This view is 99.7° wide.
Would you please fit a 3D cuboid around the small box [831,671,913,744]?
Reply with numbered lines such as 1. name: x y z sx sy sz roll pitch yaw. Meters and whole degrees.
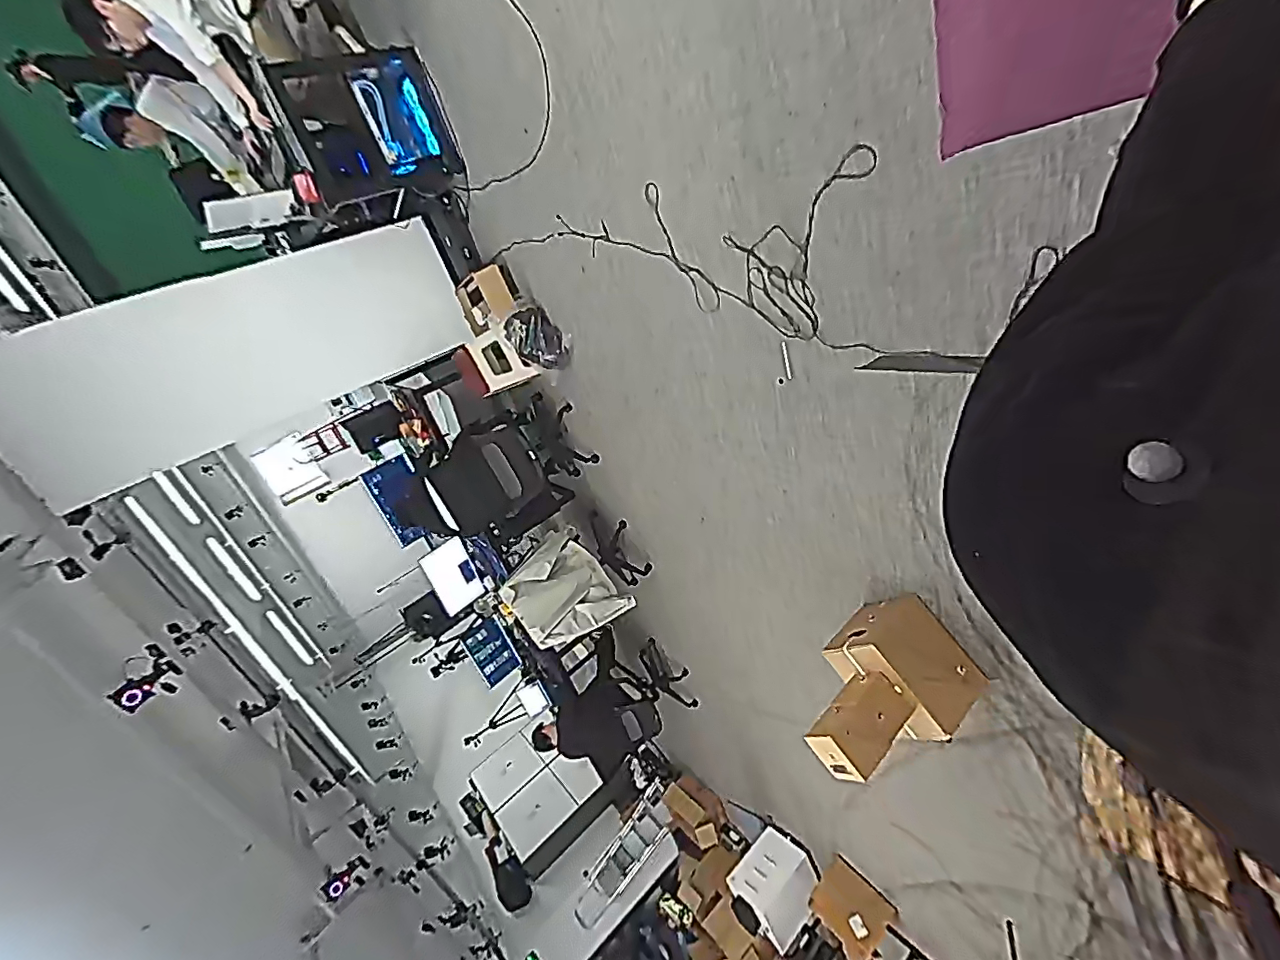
1. small box: 0.839 0.818 1.949 0.179 0.176 0.168 52 151 10
